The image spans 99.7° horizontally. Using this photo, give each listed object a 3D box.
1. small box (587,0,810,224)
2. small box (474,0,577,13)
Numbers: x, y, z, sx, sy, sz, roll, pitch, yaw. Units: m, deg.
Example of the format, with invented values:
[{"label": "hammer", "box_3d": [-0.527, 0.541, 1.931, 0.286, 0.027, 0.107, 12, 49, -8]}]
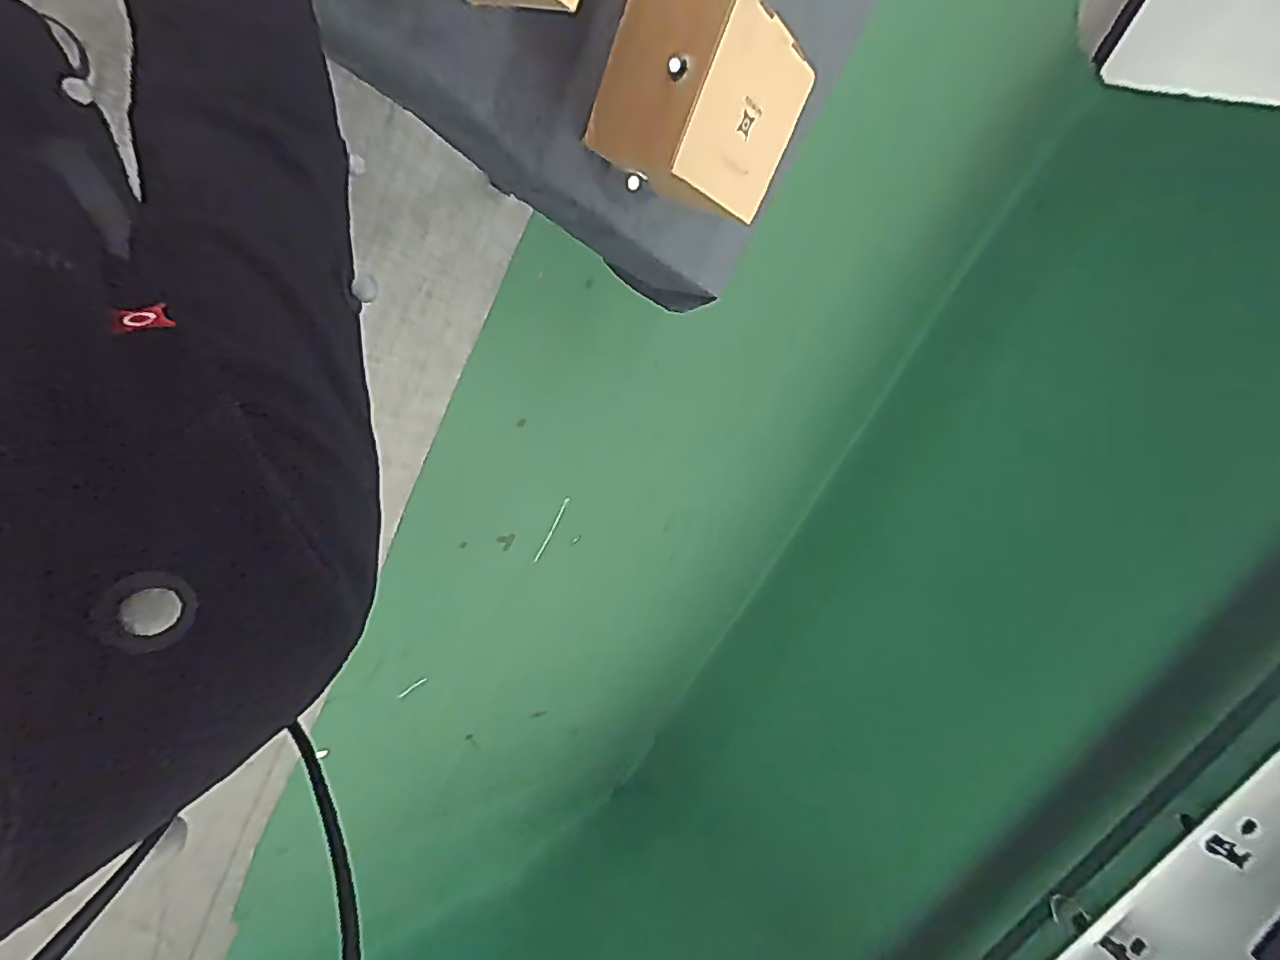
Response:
[{"label": "small box", "box_3d": [0.063, -0.443, 0.647, 0.168, 0.176, 0.179, -1, 122, -48]}, {"label": "small box", "box_3d": [-0.124, -0.483, 0.382, 0.168, 0.176, 0.179, 0, 120, -50]}]
